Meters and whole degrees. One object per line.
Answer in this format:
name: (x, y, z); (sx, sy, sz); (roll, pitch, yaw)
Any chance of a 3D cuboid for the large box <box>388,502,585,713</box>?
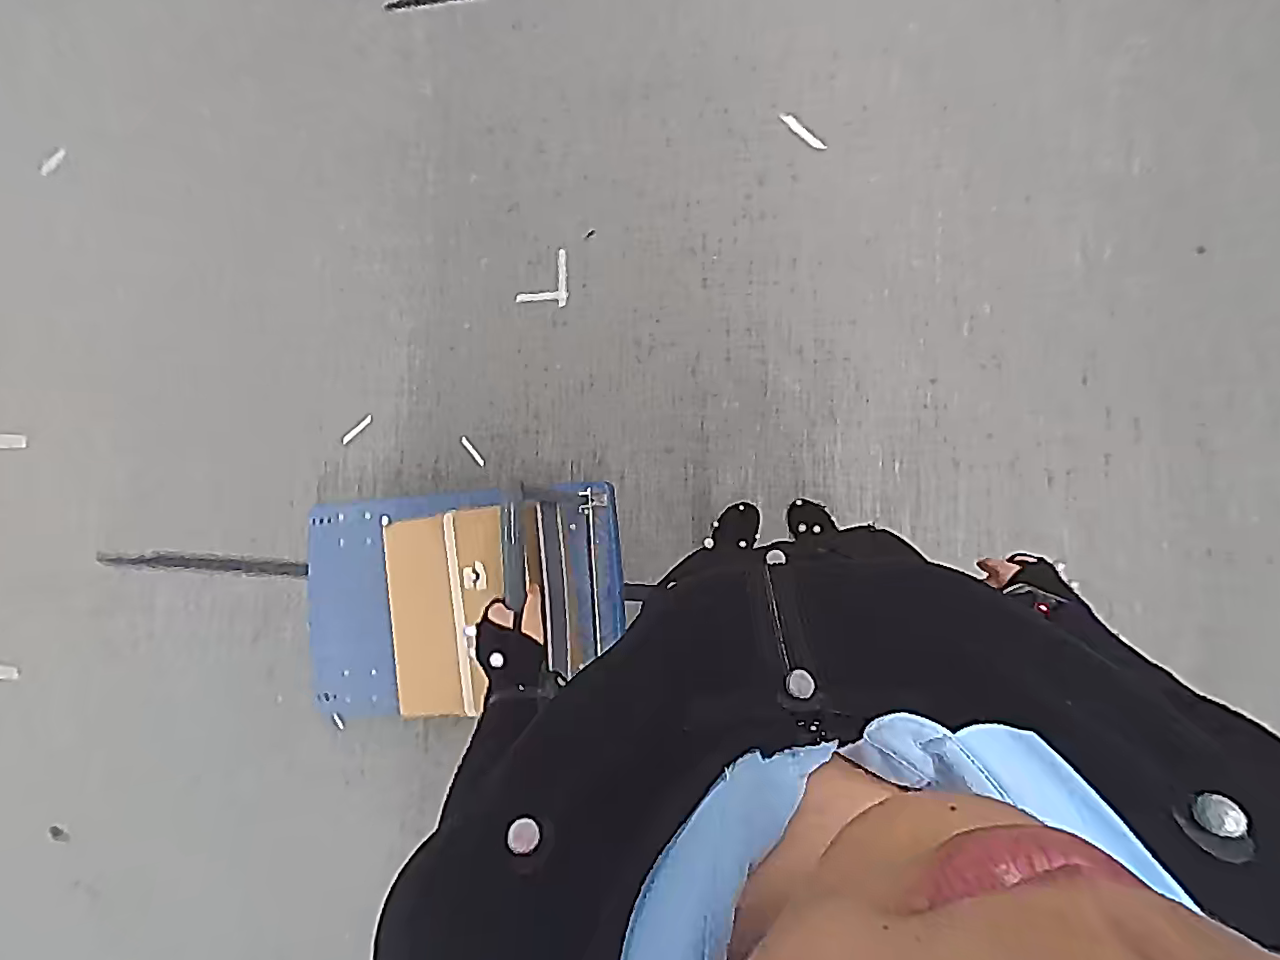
large box: (-0.335, 0.276, 1.255); (0.320, 0.320, 0.408); (-9, 84, 8)
